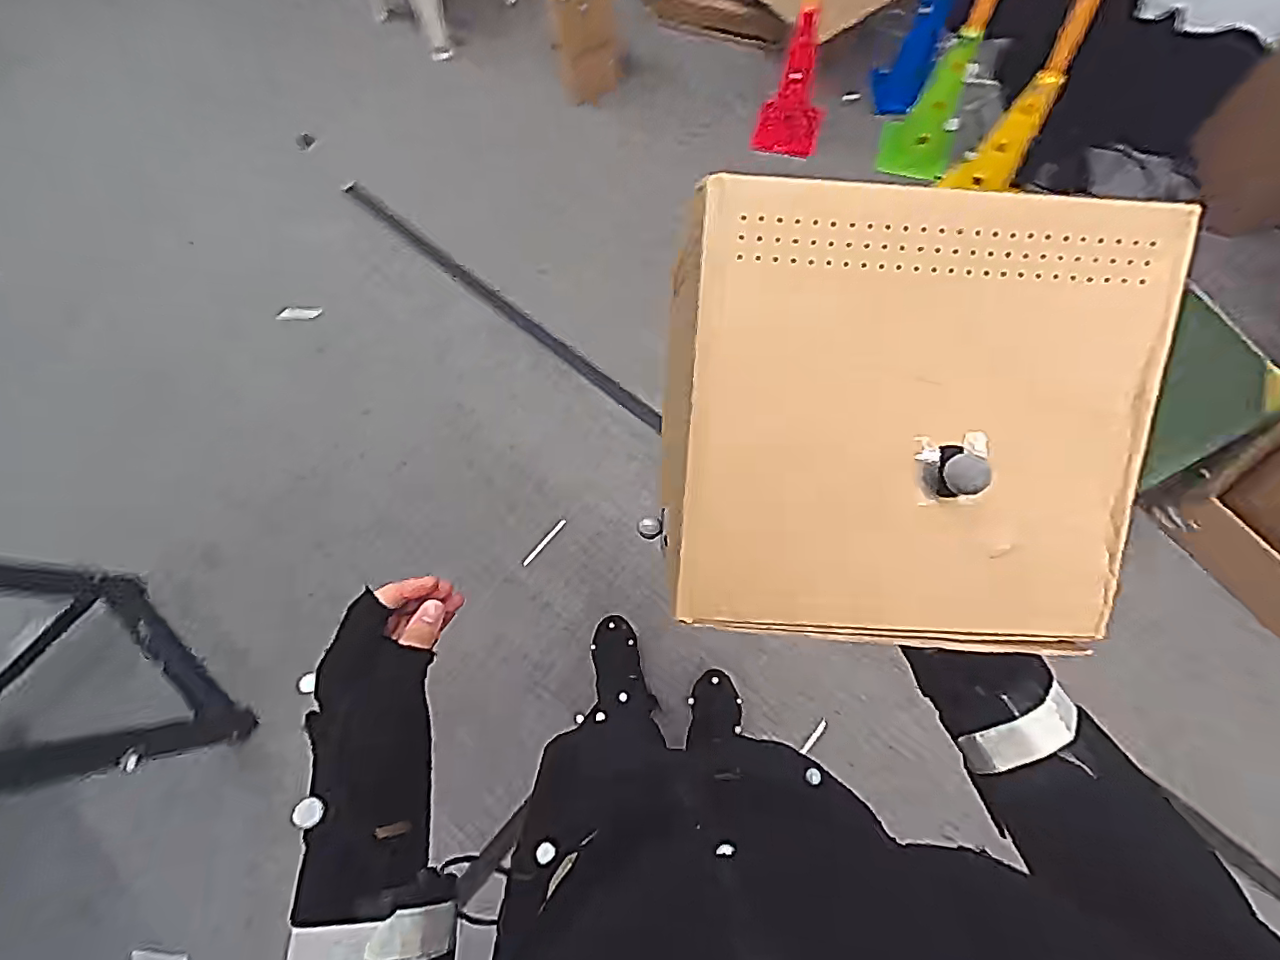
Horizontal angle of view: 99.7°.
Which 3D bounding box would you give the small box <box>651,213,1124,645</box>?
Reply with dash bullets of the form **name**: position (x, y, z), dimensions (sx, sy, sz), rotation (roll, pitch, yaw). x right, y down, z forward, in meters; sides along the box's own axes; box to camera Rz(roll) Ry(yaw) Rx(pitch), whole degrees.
- **small box**: position (0.098, -0.029, 0.288), dimensions (0.179, 0.168, 0.176), rotation (1, 99, -2)
